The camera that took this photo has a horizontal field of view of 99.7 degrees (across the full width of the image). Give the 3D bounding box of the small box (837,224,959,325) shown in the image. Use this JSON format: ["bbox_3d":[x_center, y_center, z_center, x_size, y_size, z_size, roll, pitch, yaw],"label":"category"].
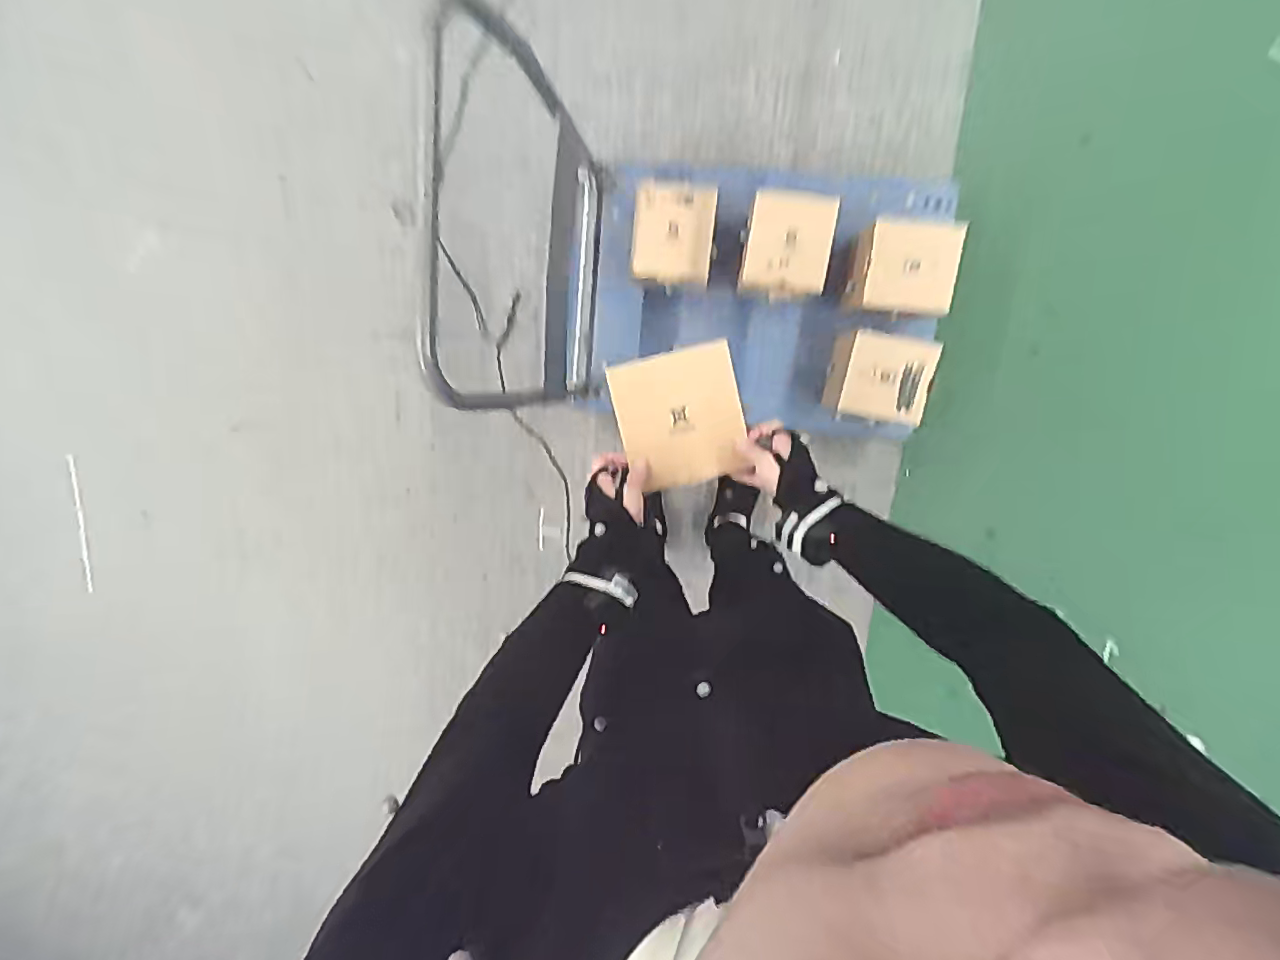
[{"bbox_3d":[0.538,-0.430,1.156,0.179,0.176,0.168,8,102,4],"label":"small box"}]

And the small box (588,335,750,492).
[{"bbox_3d":[0.041,-0.098,0.788,0.179,0.176,0.168,18,101,0],"label":"small box"}]
